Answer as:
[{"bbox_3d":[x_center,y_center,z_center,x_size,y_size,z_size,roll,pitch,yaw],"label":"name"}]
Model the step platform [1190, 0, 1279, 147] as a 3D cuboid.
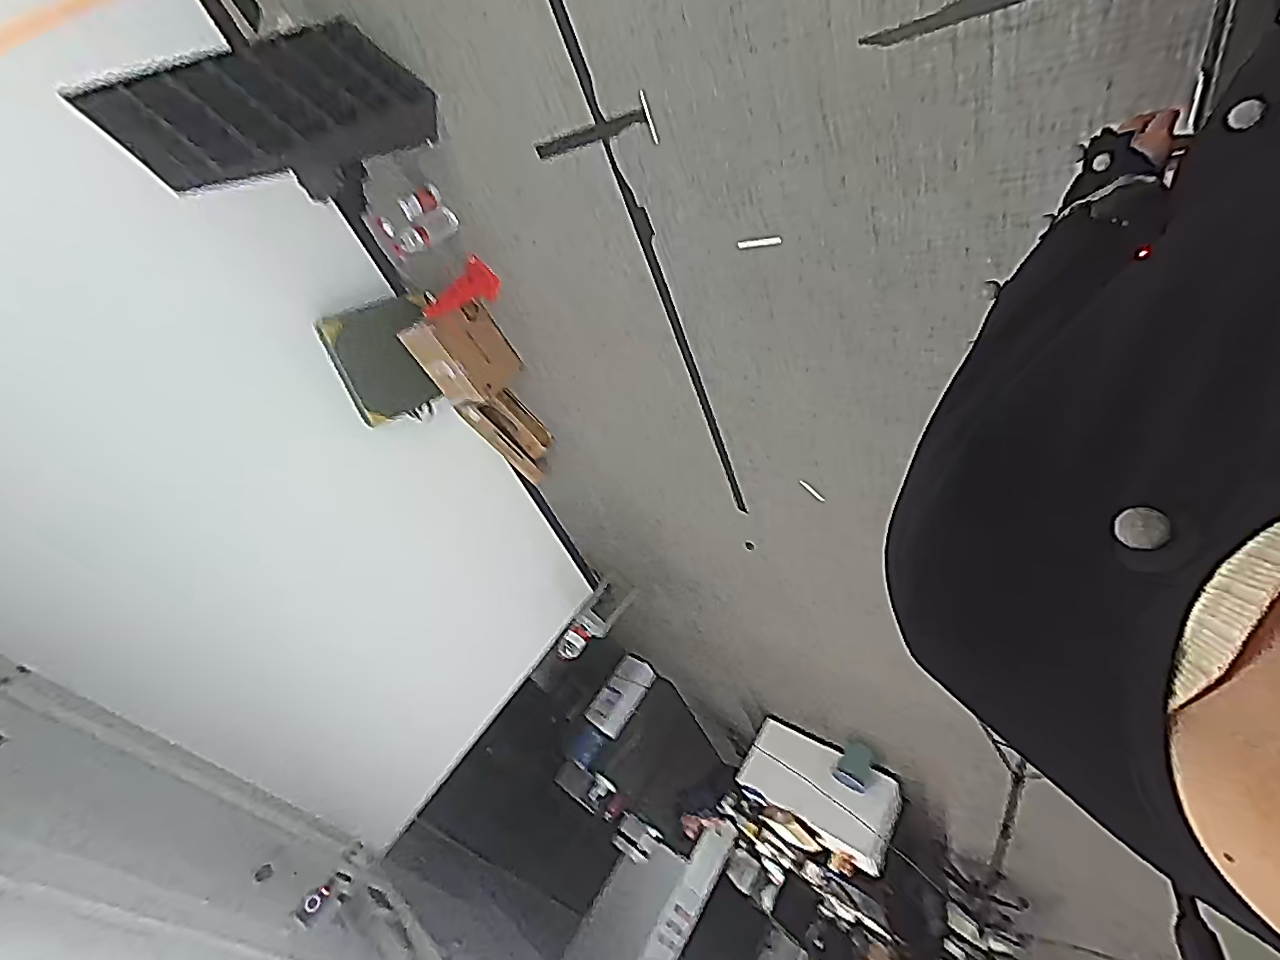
[{"bbox_3d":[0.976,-0.809,0.664,0.286,0.204,0.684,16,140,38],"label":"step platform"}]
